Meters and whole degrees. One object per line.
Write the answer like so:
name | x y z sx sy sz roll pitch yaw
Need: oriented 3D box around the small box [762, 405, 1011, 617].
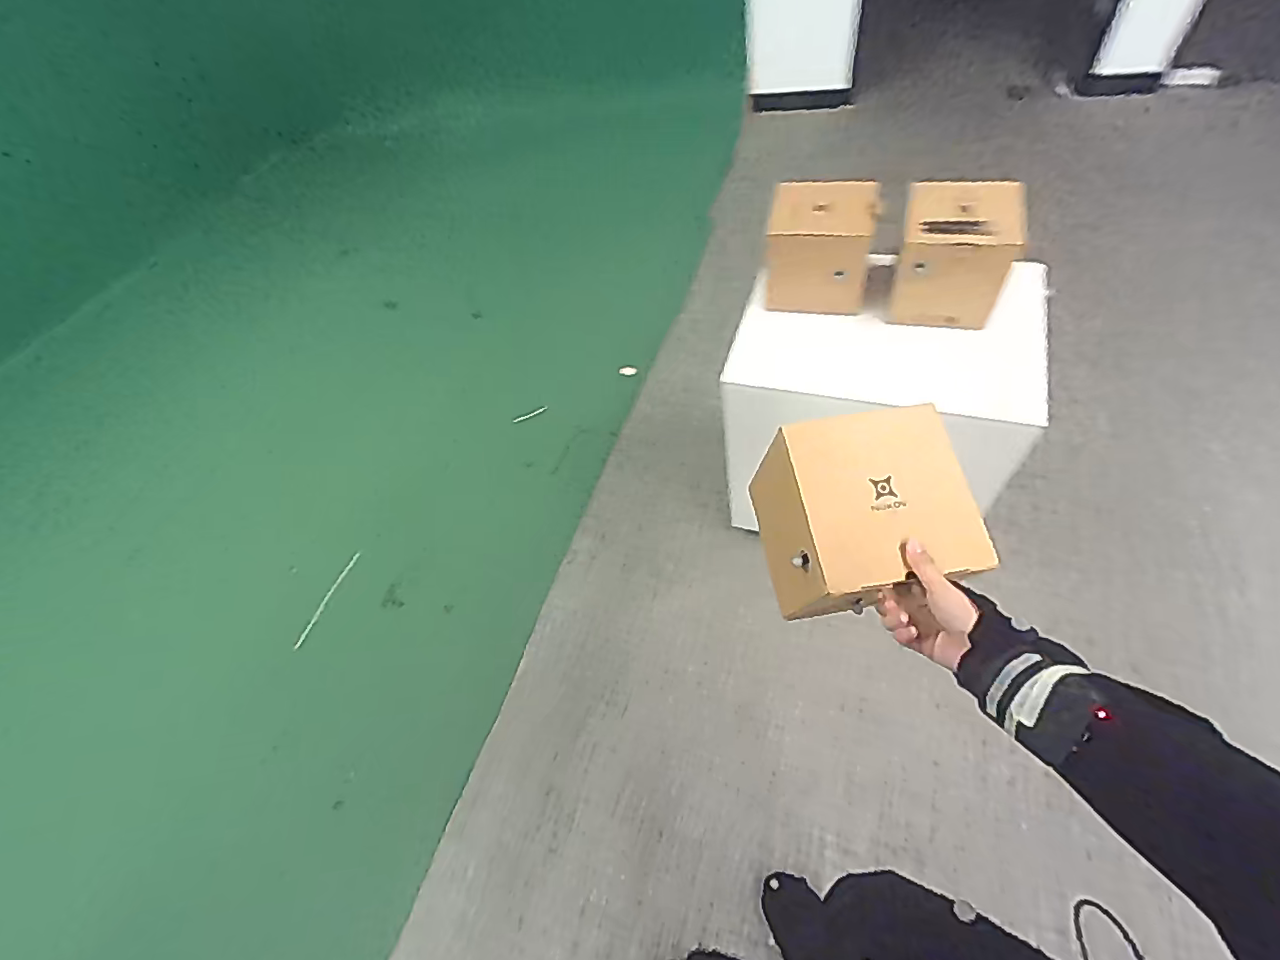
small box | 0.243 0.041 0.590 0.168 0.176 0.179 -8 69 -4

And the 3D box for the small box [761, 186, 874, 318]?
small box | 0.328 -0.423 1.015 0.179 0.176 0.168 8 57 16
